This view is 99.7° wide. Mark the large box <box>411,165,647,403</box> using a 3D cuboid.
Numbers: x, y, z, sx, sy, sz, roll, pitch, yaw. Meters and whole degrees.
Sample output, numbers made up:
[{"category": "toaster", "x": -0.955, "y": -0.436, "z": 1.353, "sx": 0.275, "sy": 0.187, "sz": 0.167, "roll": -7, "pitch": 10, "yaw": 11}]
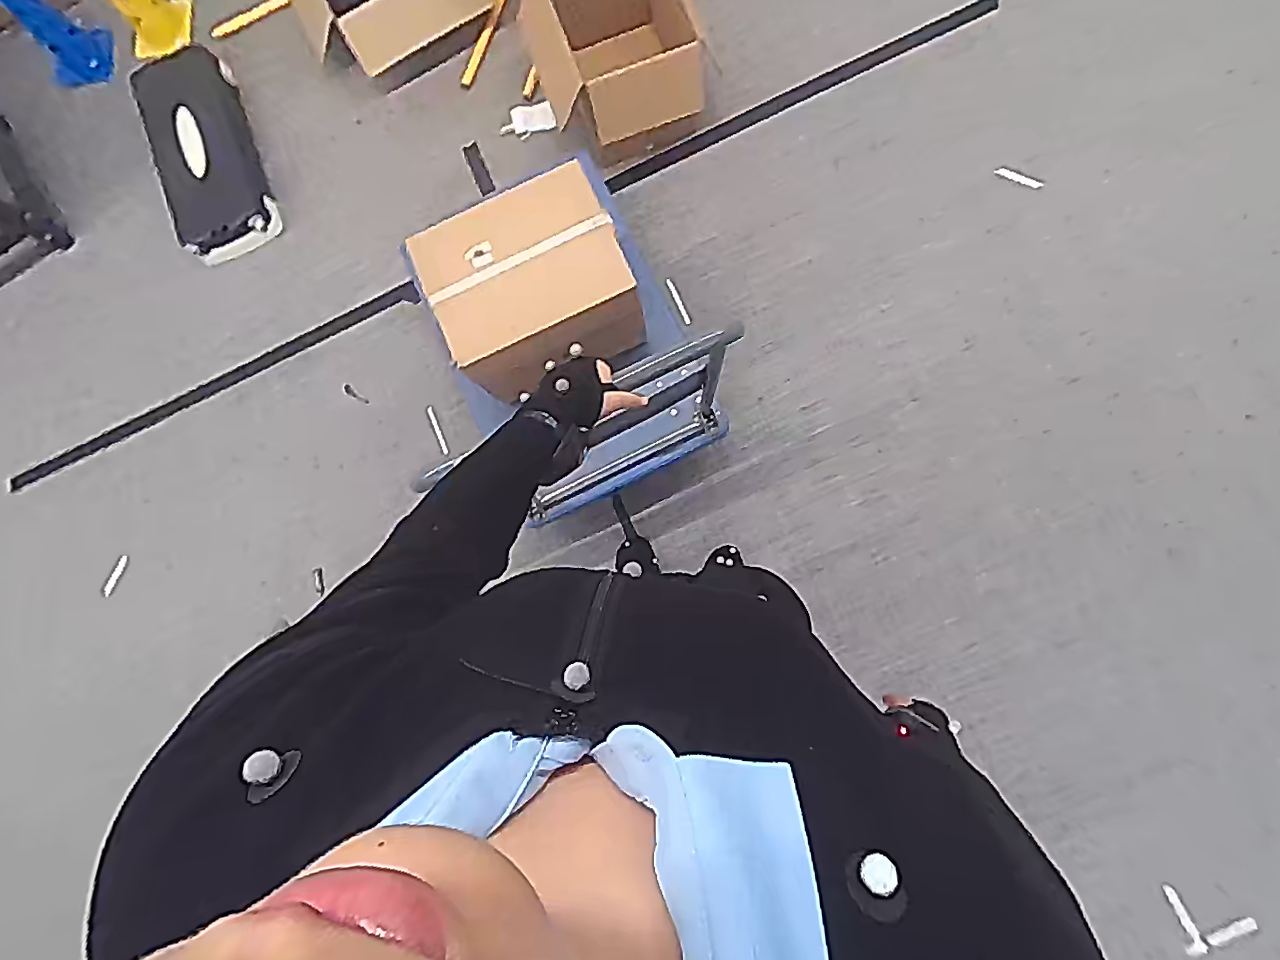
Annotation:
[{"category": "large box", "x": -0.234, "y": -0.430, "z": 1.272, "sx": 0.408, "sy": 0.320, "sz": 0.320, "roll": -25, "pitch": 81, "yaw": 3}]
